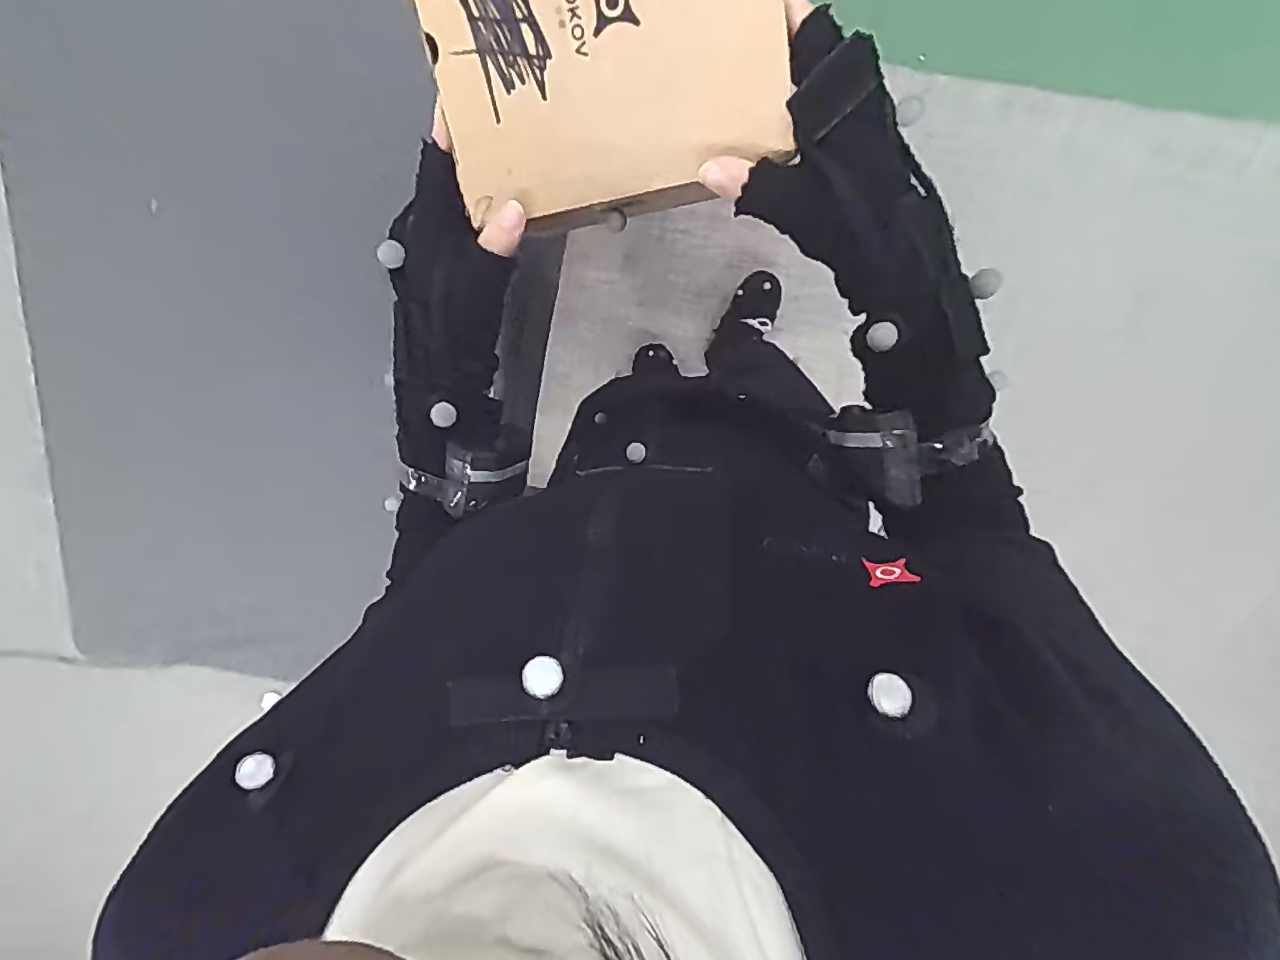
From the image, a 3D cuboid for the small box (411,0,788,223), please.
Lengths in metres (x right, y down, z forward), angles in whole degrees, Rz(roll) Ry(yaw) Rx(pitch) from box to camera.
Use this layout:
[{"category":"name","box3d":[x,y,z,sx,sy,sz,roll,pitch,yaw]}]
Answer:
[{"category":"small box","box3d":[-0.016,-0.257,0.323,0.179,0.176,0.168,-7,114,8]}]
